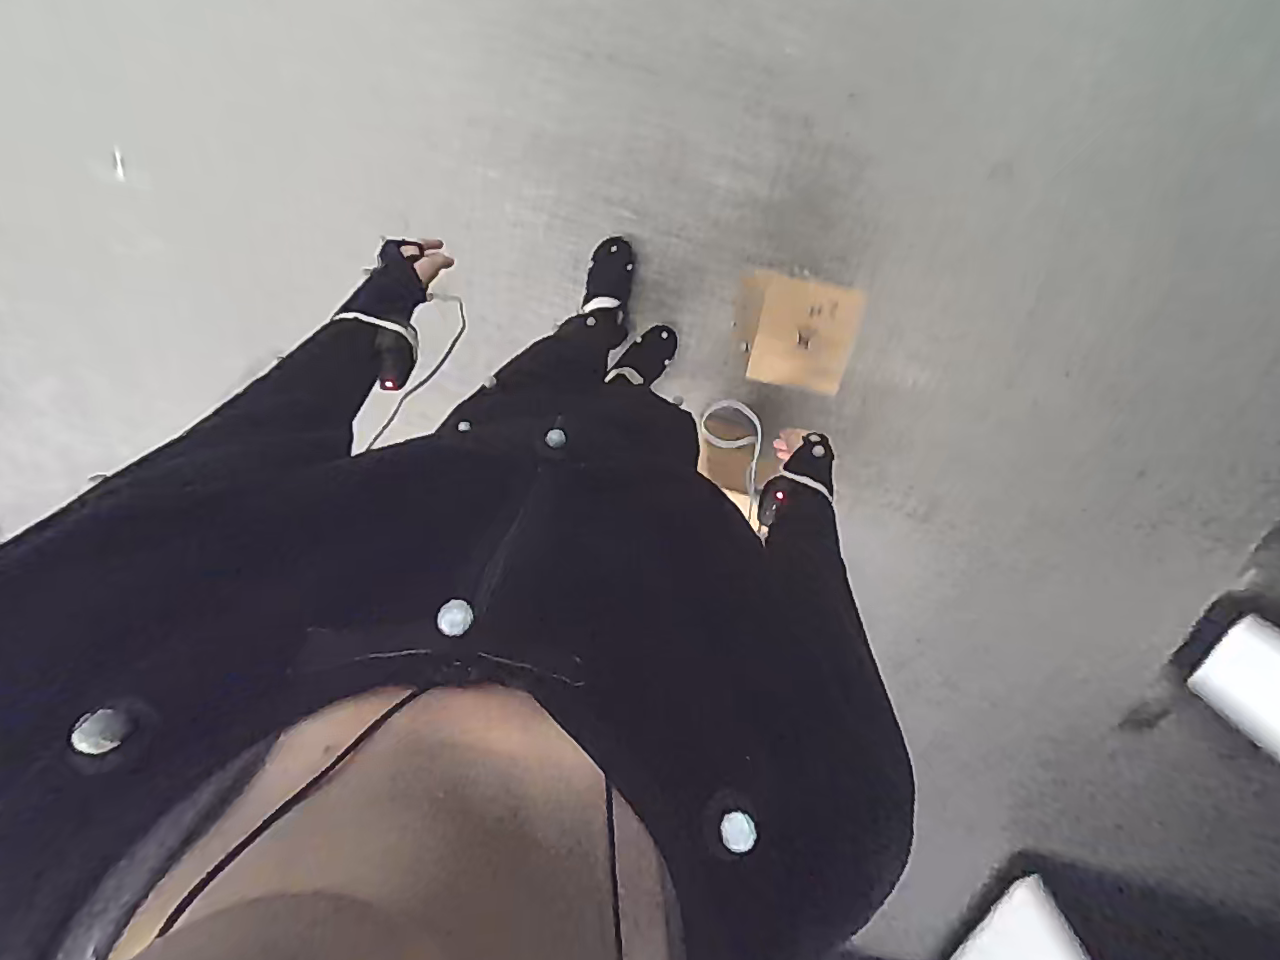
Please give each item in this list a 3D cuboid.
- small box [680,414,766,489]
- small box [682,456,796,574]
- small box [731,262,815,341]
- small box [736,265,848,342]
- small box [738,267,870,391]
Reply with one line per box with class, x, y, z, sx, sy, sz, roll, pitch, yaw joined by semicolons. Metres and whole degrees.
small box;0.211;-0.061;1.427;0.179;0.176;0.168;16;114;-3
small box;0.195;0.065;1.124;0.179;0.176;0.168;16;111;-4
small box;0.318;-0.409;1.277;0.168;0.176;0.179;10;111;-2
small box;0.305;-0.343;1.128;0.168;0.176;0.179;10;112;-1
small box;0.281;-0.277;0.976;0.168;0.176;0.179;12;111;-3
